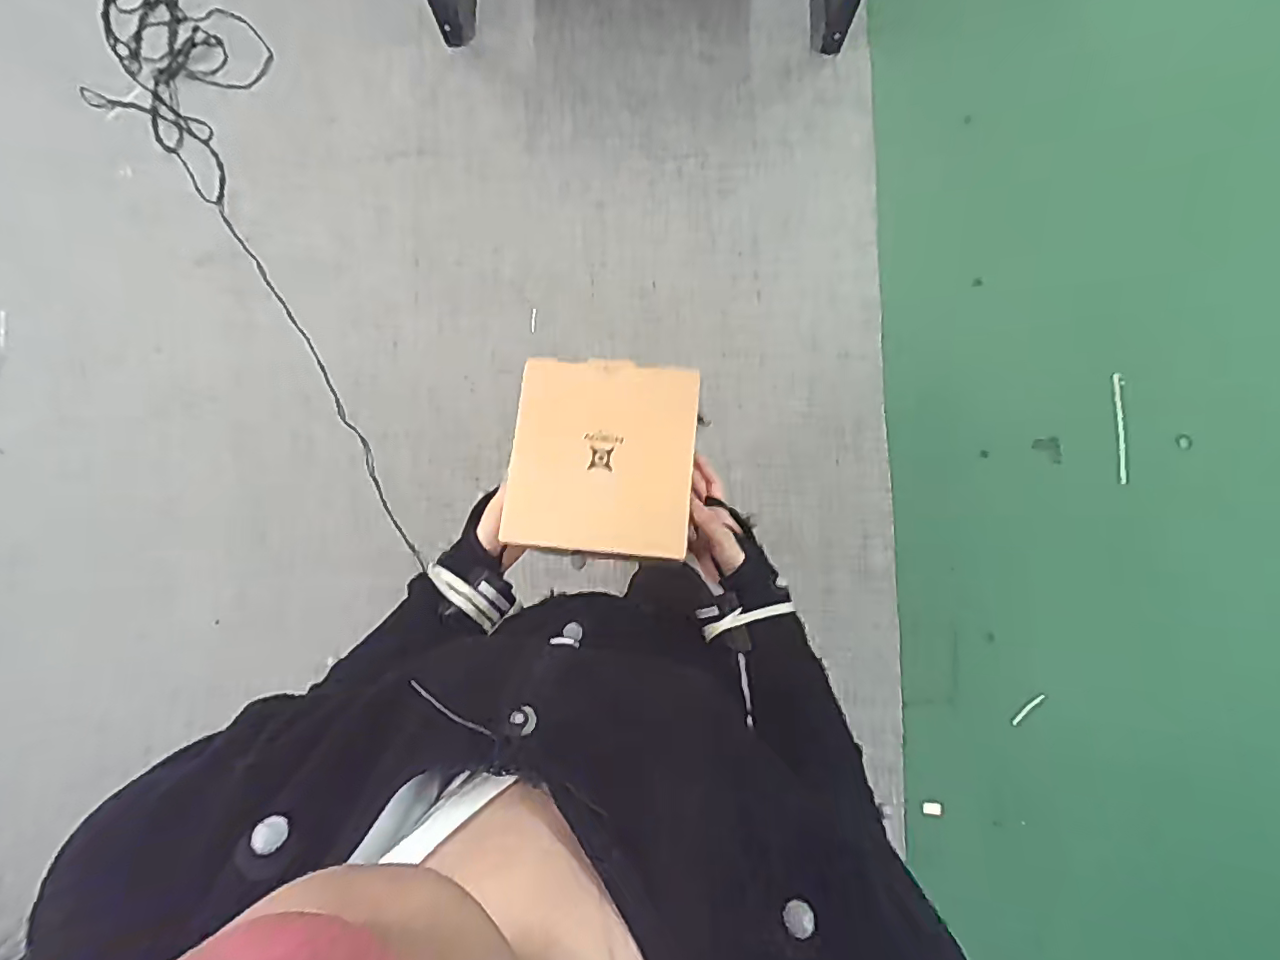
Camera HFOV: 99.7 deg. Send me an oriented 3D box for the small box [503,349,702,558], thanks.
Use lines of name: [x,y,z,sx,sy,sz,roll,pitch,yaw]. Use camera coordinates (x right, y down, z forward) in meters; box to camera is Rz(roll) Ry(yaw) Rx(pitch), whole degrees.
small box: [-0.027,-0.016,0.562,0.168,0.176,0.179,5,78,4]
